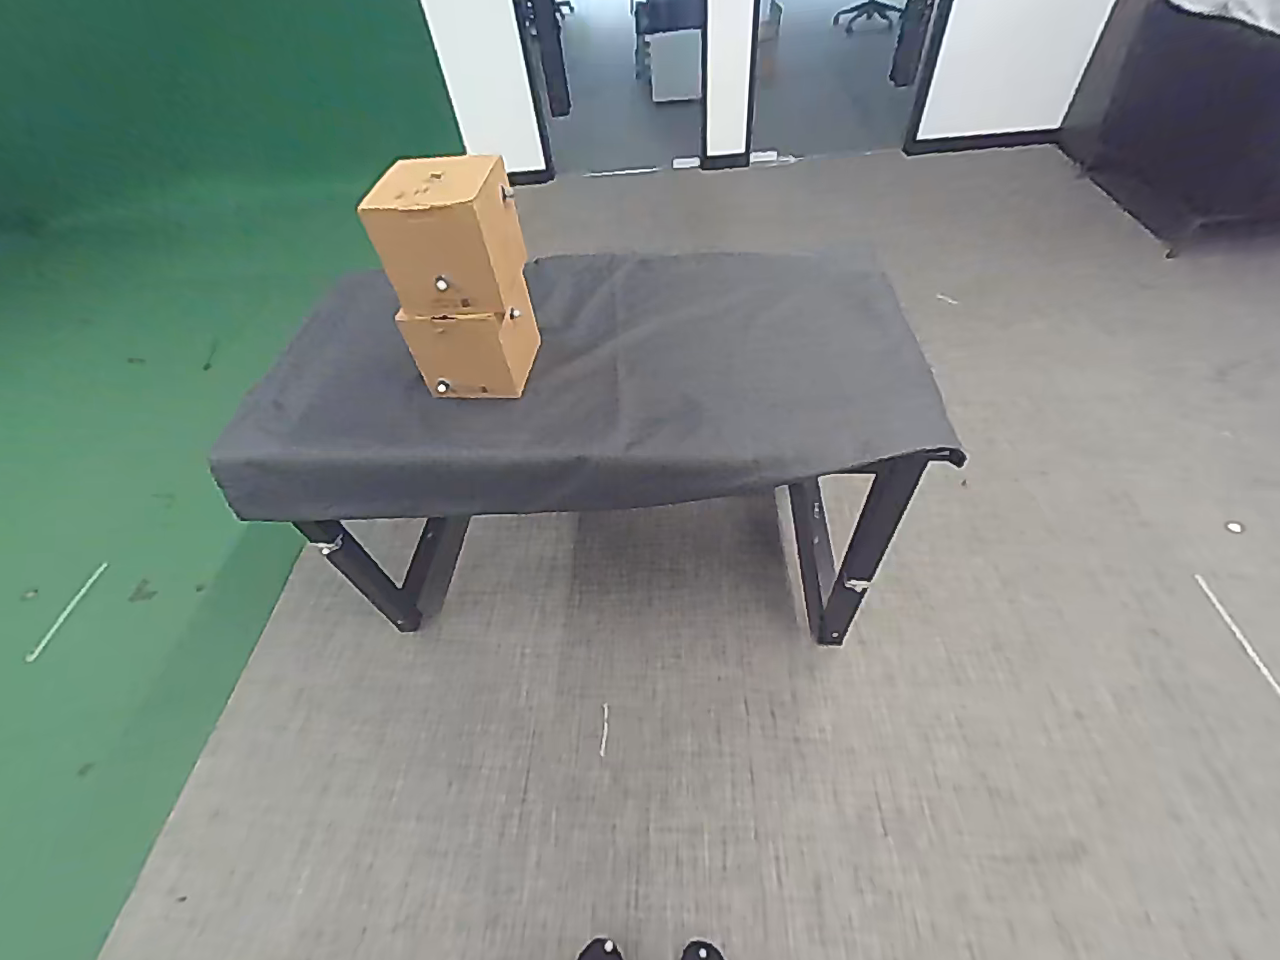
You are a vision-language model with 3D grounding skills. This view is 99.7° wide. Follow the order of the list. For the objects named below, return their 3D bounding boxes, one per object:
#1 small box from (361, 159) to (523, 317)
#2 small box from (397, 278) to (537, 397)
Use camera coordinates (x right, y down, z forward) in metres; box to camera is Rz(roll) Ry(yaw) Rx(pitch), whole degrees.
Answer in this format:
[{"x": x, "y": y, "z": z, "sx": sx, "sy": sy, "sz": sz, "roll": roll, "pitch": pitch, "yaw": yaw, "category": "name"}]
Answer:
[{"x": -0.291, "y": -0.375, "z": 0.845, "sx": 0.168, "sy": 0.176, "sz": 0.179, "roll": -1, "pitch": 50, "yaw": 6, "category": "small box"}, {"x": -0.294, "y": -0.262, "z": 0.966, "sx": 0.168, "sy": 0.176, "sz": 0.179, "roll": 2, "pitch": 49, "yaw": 7, "category": "small box"}]
